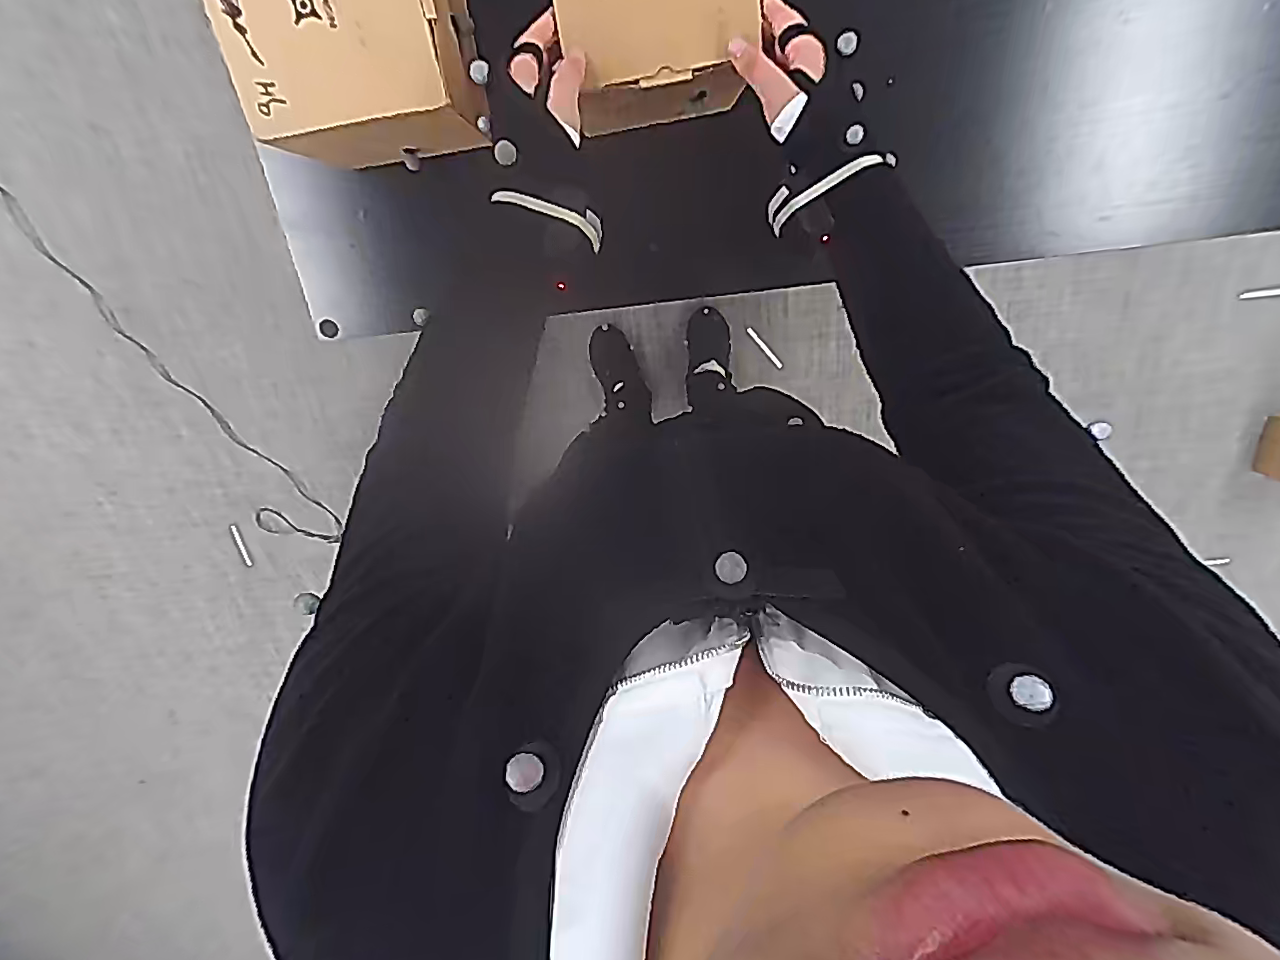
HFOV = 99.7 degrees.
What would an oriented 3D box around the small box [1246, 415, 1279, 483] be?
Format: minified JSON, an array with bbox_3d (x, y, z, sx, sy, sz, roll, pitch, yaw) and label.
[{"bbox_3d":[1.806,-0.079,1.447,0.168,0.176,0.179,-6,113,3],"label":"small box"}]

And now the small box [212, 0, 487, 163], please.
[{"bbox_3d":[-0.253,-0.411,0.502,0.179,0.176,0.168,-9,112,2],"label":"small box"}]

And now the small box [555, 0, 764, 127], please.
[{"bbox_3d":[0.008,-0.445,0.492,0.168,0.176,0.179,-10,111,2],"label":"small box"}]
